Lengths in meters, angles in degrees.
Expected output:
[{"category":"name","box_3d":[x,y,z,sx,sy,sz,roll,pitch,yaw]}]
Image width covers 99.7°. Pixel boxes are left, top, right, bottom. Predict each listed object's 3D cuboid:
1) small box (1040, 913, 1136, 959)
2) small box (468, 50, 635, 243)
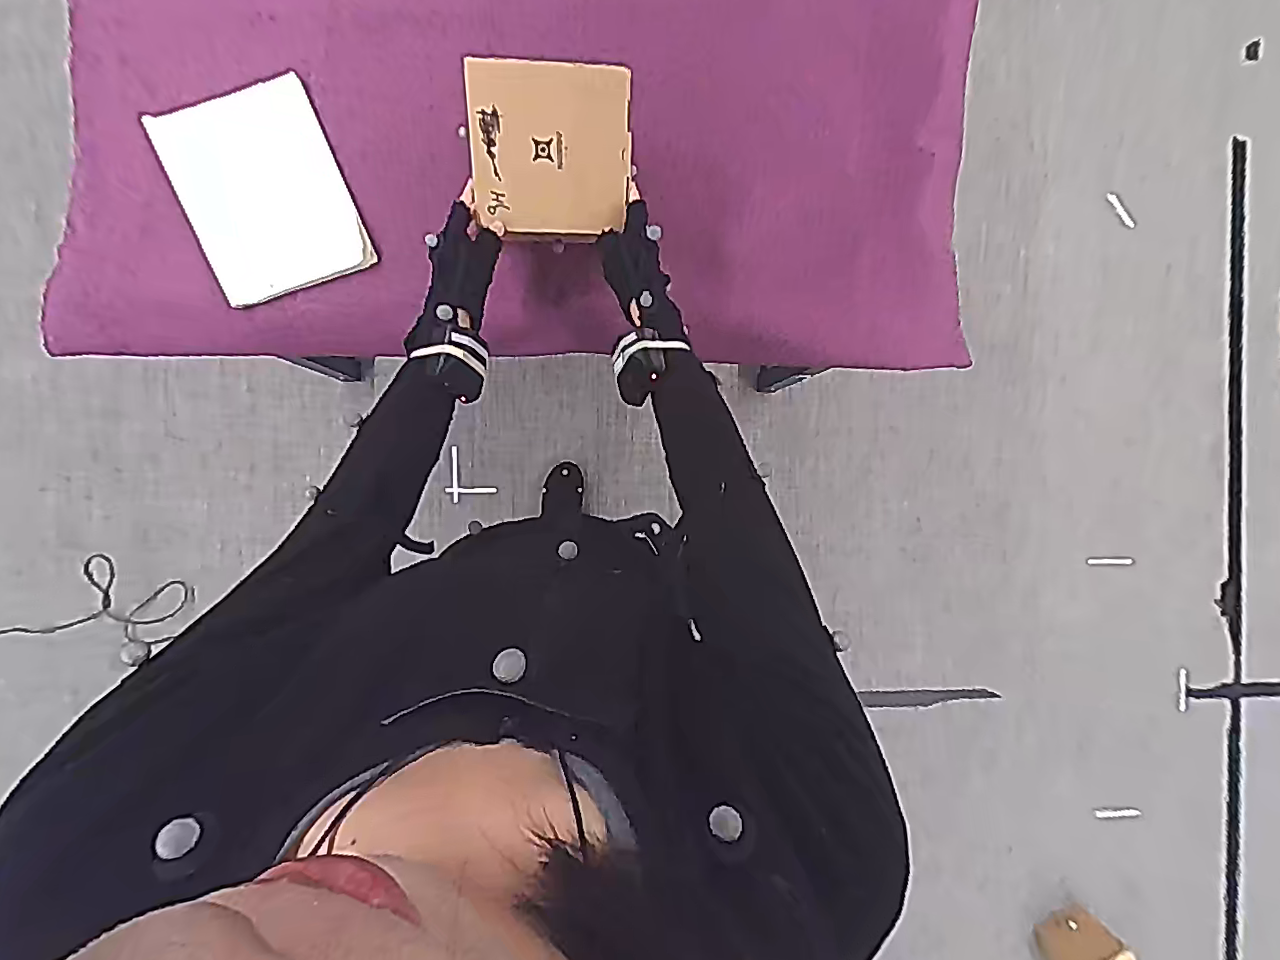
[{"category":"small box","box_3d":[1.343,1.451,1.598,0.168,0.176,0.179,-22,92,-6]},{"category":"small box","box_3d":[-0.104,-0.389,0.663,0.179,0.176,0.168,-1,109,-7]}]
